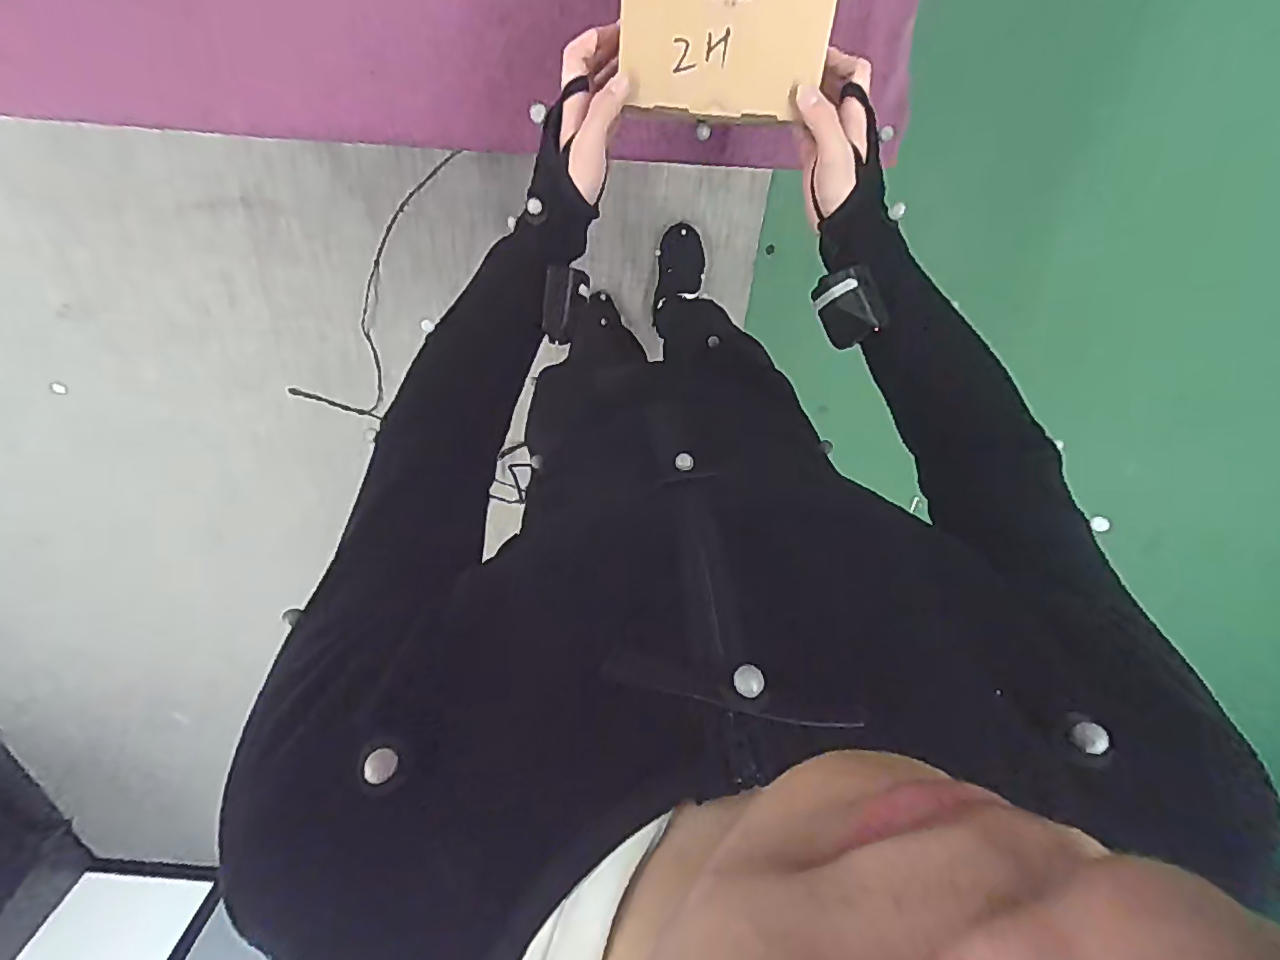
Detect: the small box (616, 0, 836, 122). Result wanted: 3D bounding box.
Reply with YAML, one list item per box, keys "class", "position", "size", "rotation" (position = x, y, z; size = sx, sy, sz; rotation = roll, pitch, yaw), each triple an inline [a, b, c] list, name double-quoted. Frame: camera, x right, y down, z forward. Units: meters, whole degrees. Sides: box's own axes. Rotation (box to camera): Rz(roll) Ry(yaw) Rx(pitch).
- class: "small box"
  position: [0.070, -0.425, 0.465]
  size: [0.168, 0.176, 0.179]
  rotation: [5, 121, -1]
